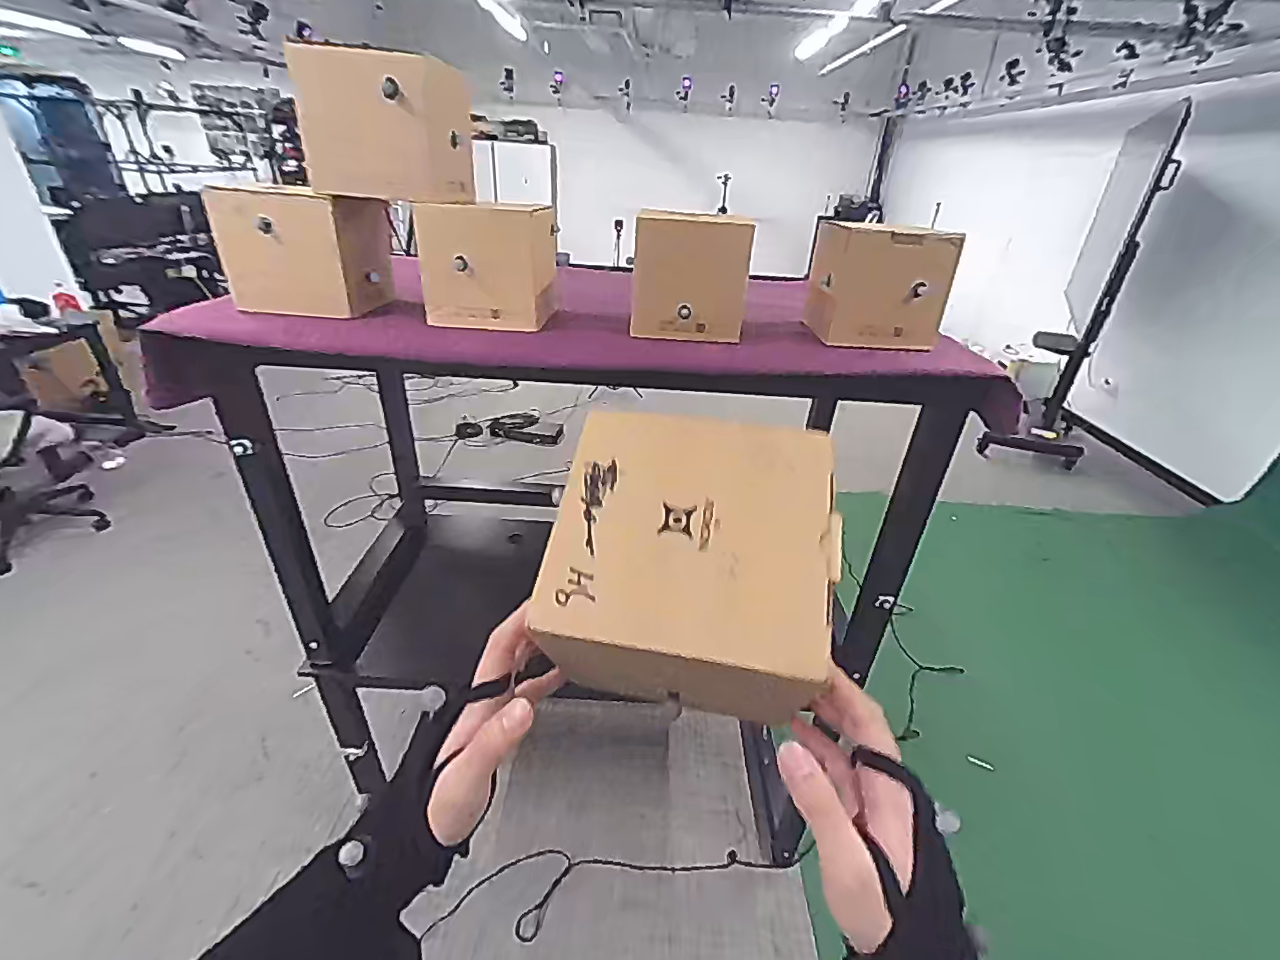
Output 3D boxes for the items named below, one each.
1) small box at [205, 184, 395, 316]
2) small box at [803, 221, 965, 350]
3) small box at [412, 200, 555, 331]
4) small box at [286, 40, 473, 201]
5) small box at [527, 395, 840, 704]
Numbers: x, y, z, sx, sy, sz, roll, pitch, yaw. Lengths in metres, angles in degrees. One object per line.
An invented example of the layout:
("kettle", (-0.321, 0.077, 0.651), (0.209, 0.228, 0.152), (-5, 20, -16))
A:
("small box", (-0.507, -0.357, 0.838), (0.179, 0.176, 0.168), (5, 30, -1))
("small box", (0.371, -0.312, 0.859), (0.168, 0.176, 0.179), (4, 29, 1))
("small box", (-0.226, -0.334, 0.836), (0.168, 0.176, 0.179), (3, 29, 1))
("small box", (-0.346, -0.492, 0.763), (0.179, 0.176, 0.168), (5, 29, 1))
("small box", (0.038, 0.061, 0.410), (0.179, 0.176, 0.168), (9, 60, 9))
